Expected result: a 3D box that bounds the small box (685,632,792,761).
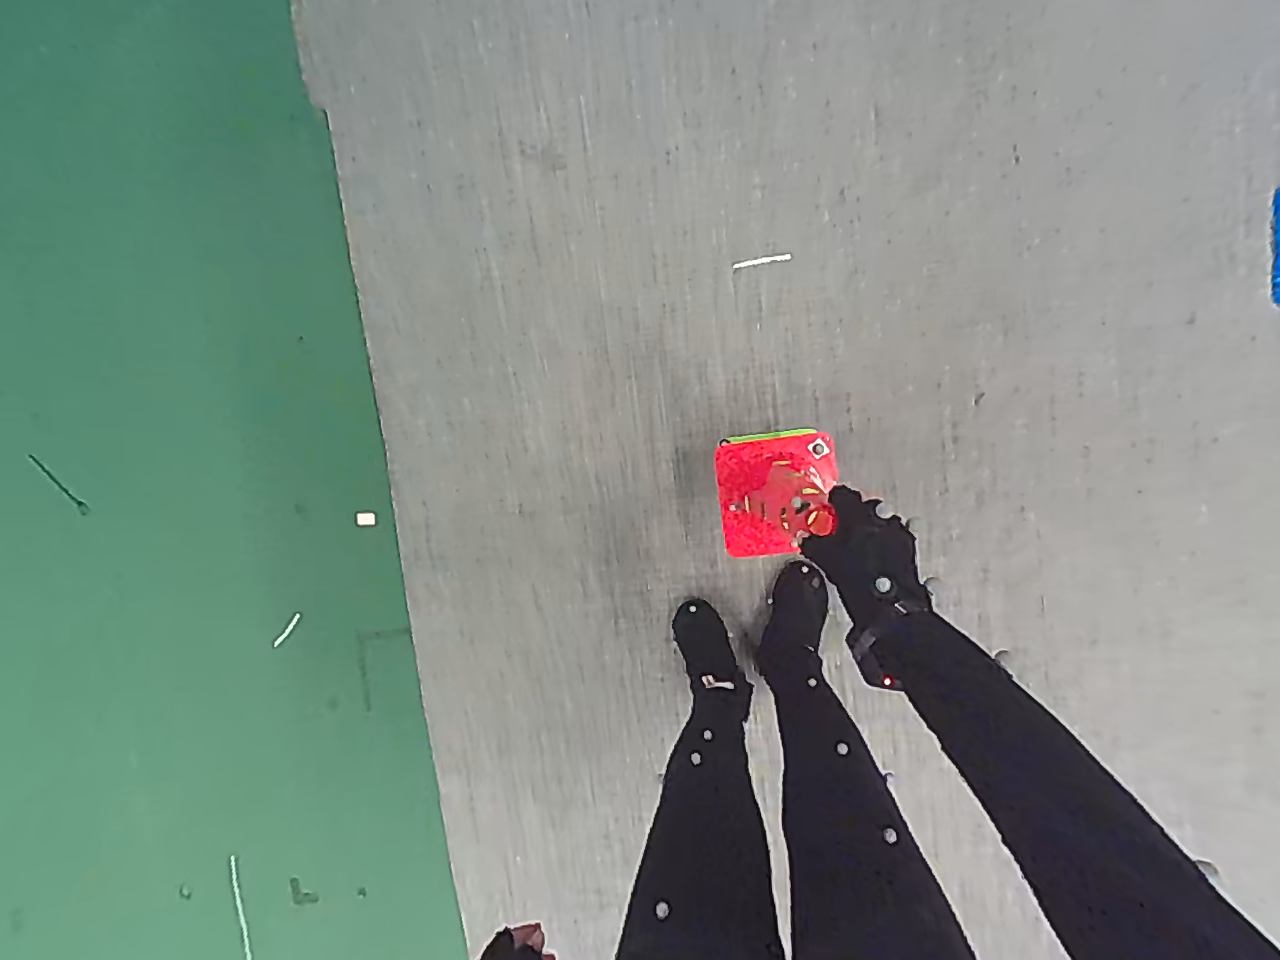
[{"bbox_3d":[0.190,0.426,1.085,0.168,0.176,0.179,-2,99,-9],"label":"small box"}]
